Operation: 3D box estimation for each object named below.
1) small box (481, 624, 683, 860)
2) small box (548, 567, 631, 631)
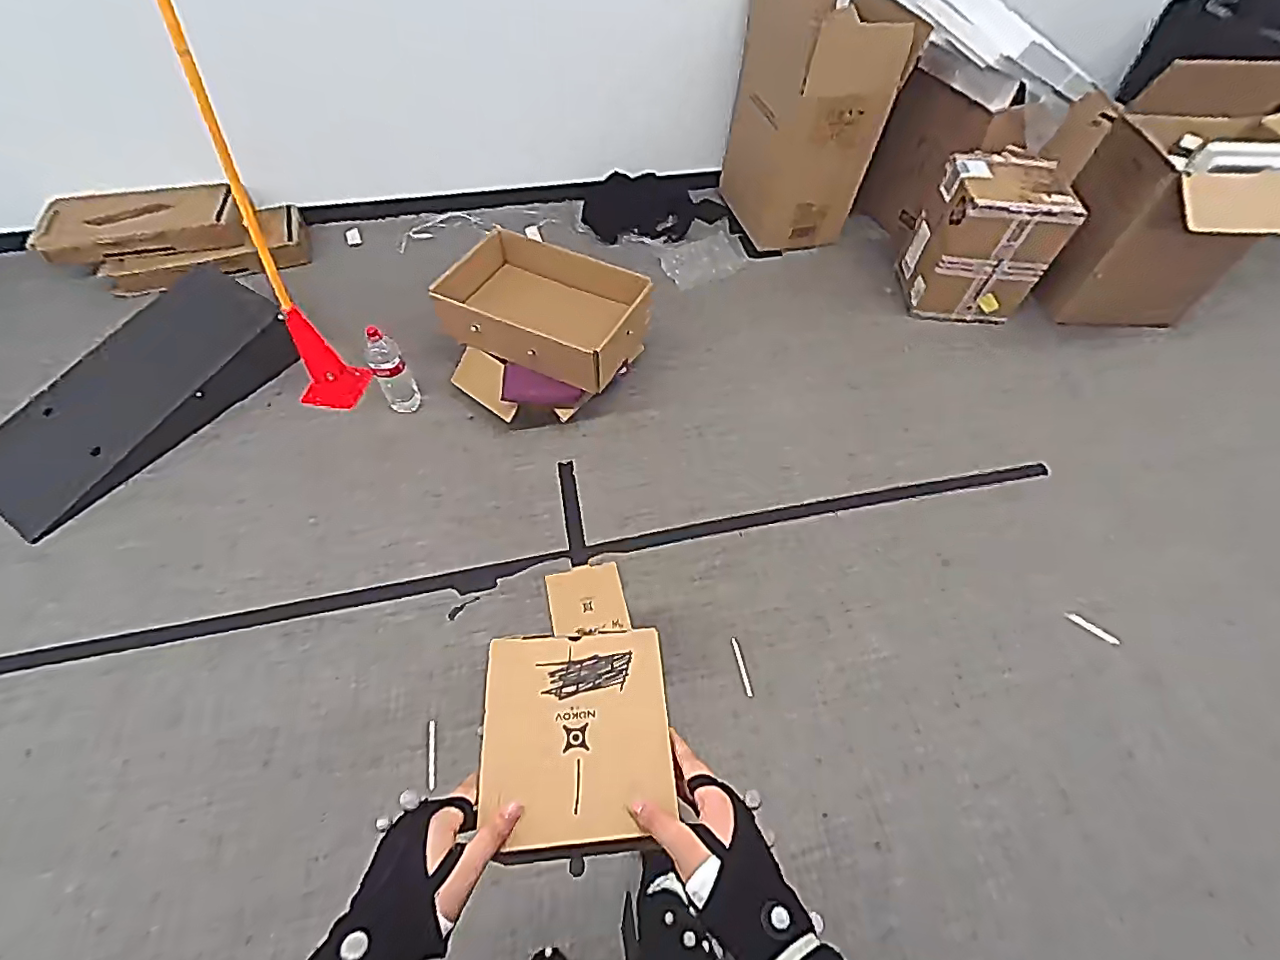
[{"bbox_3d":[-0.057,0.266,0.547,0.168,0.176,0.179,-3,53,-5],"label":"small box"},{"bbox_3d":[-0.113,0.328,1.251,0.168,0.176,0.179,-11,55,-9],"label":"small box"}]
